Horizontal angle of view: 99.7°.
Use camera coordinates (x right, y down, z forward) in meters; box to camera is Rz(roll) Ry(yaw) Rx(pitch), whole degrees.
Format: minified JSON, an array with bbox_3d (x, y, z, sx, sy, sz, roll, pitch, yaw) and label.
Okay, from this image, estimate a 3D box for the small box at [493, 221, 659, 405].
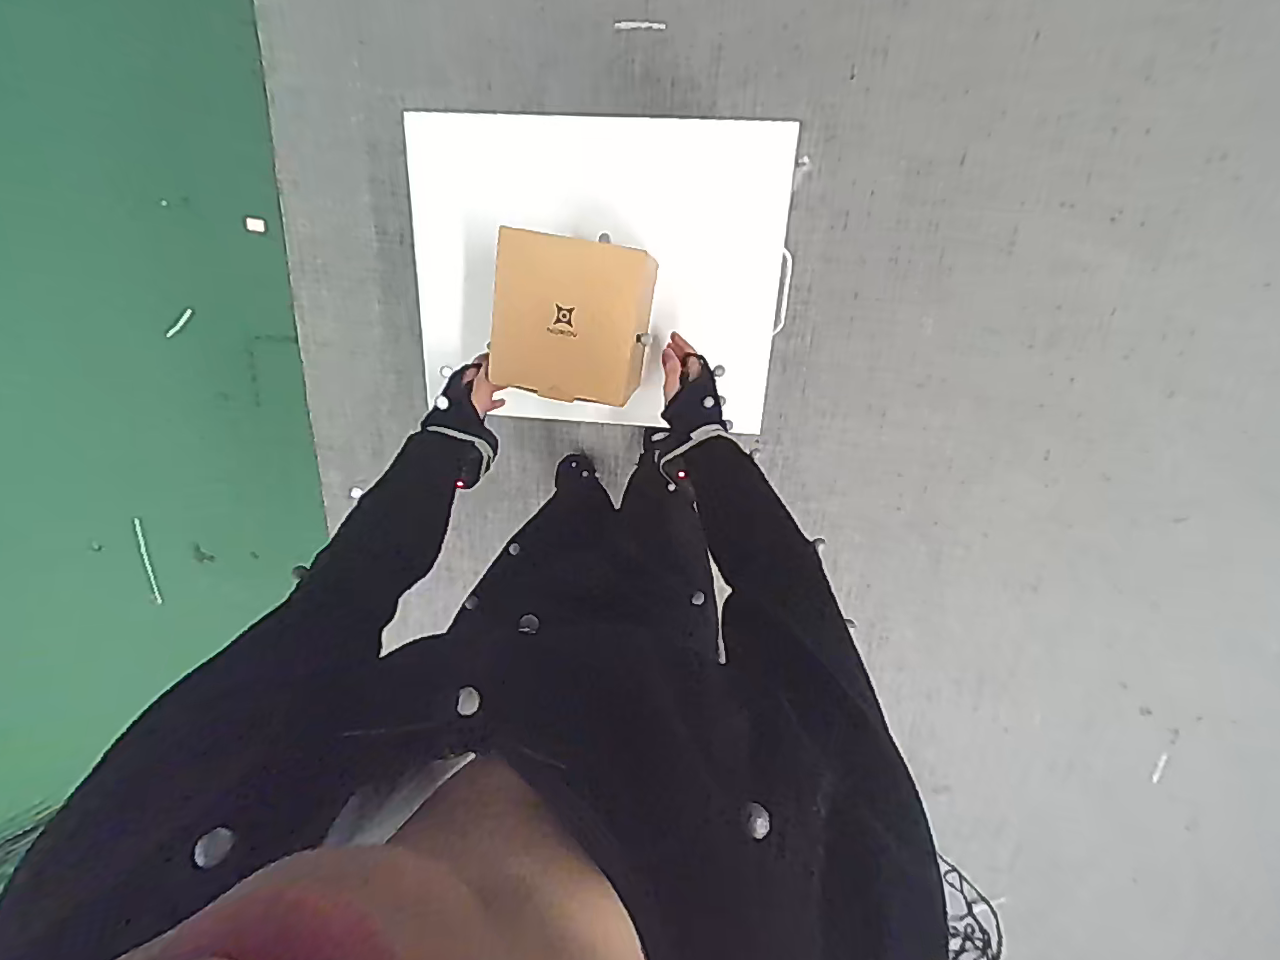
[{"bbox_3d":[-0.071,-0.208,0.678,0.168,0.176,0.179,10,110,3],"label":"small box"}]
